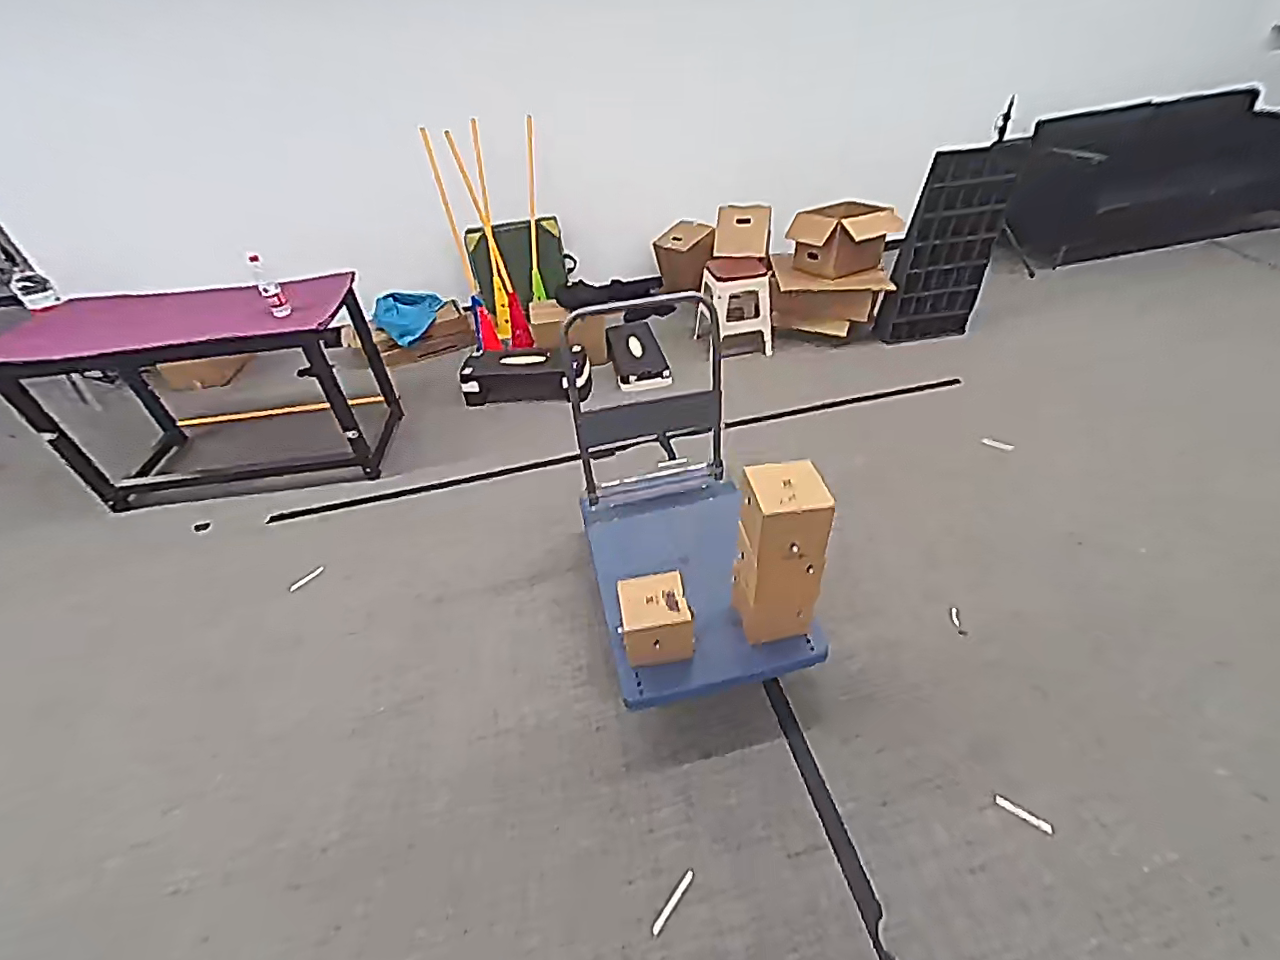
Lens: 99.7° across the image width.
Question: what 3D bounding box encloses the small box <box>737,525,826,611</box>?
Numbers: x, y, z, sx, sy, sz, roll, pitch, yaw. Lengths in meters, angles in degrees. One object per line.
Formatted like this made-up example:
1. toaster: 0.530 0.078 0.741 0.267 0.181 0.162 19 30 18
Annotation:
1. small box: 0.353 0.218 1.389 0.179 0.176 0.168 -7 39 -4

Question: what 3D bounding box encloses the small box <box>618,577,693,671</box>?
1. small box: 0.042 0.392 1.467 0.179 0.176 0.168 -9 39 -4

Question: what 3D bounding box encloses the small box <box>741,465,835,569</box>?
1. small box: 0.342 0.088 1.288 0.168 0.176 0.179 -7 39 -2
